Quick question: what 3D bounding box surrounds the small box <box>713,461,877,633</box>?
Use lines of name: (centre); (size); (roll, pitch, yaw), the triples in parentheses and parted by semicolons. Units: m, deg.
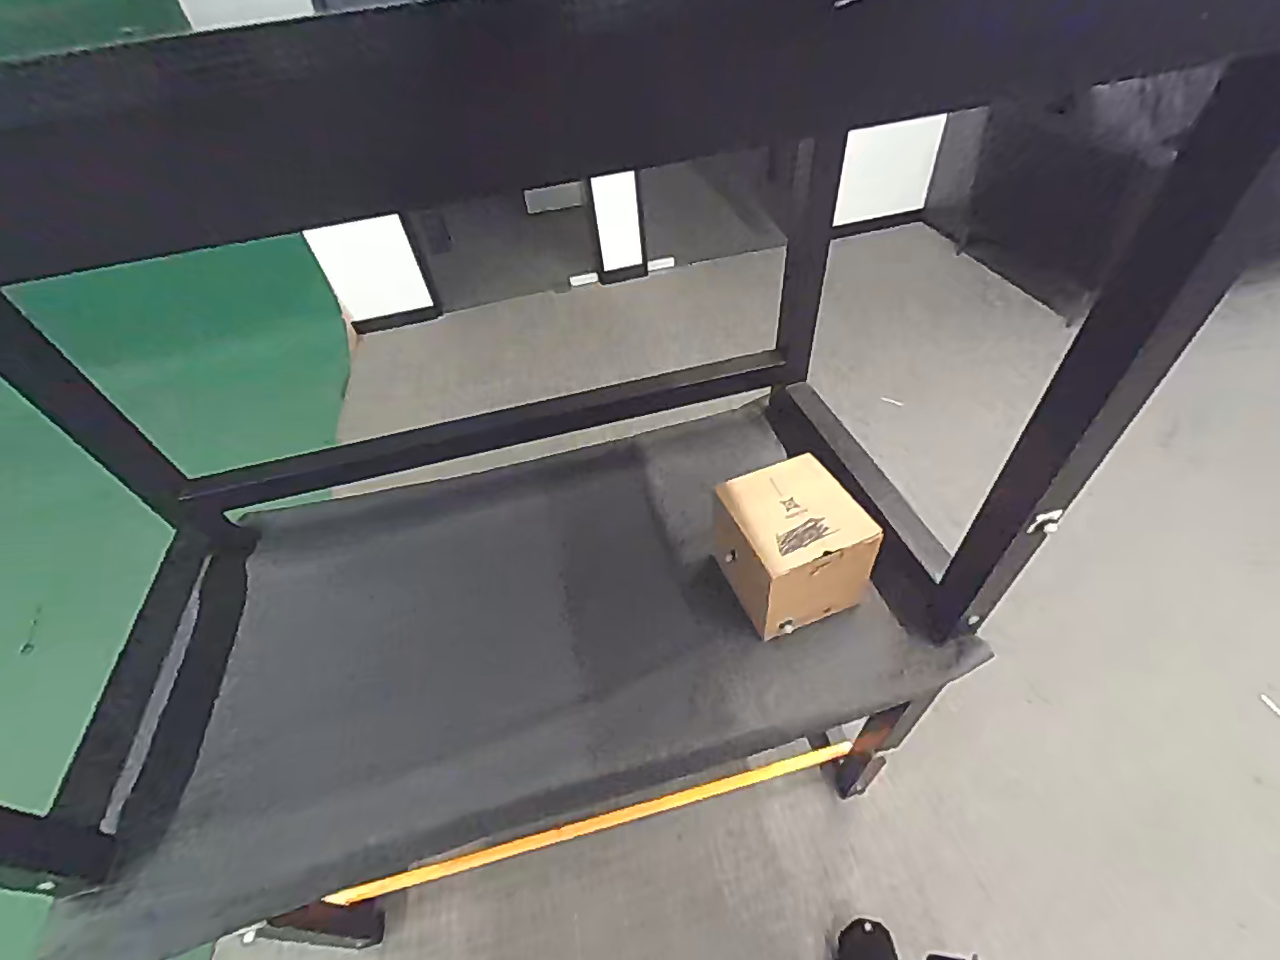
small box: (0.220, 0.106, 0.810); (0.168, 0.176, 0.179); (-18, 45, -9)
